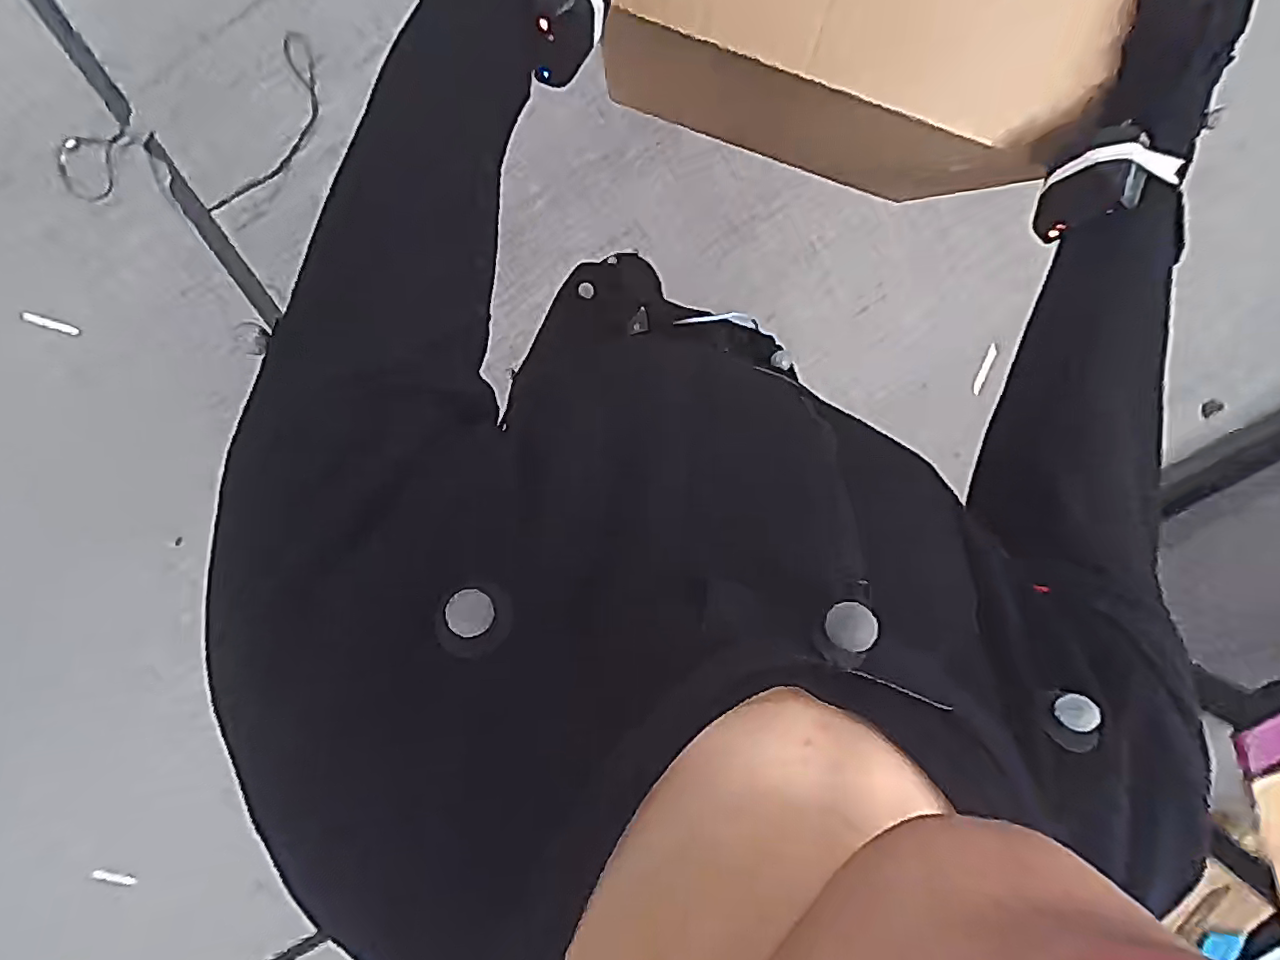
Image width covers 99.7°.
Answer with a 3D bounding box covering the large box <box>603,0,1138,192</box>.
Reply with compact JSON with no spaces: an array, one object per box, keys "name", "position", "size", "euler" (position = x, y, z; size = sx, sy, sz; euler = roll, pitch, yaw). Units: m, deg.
[{"name":"large box","position":[0.194,-0.505,0.511],"size":[0.408,0.320,0.320],"euler":[14,114,-8]}]
